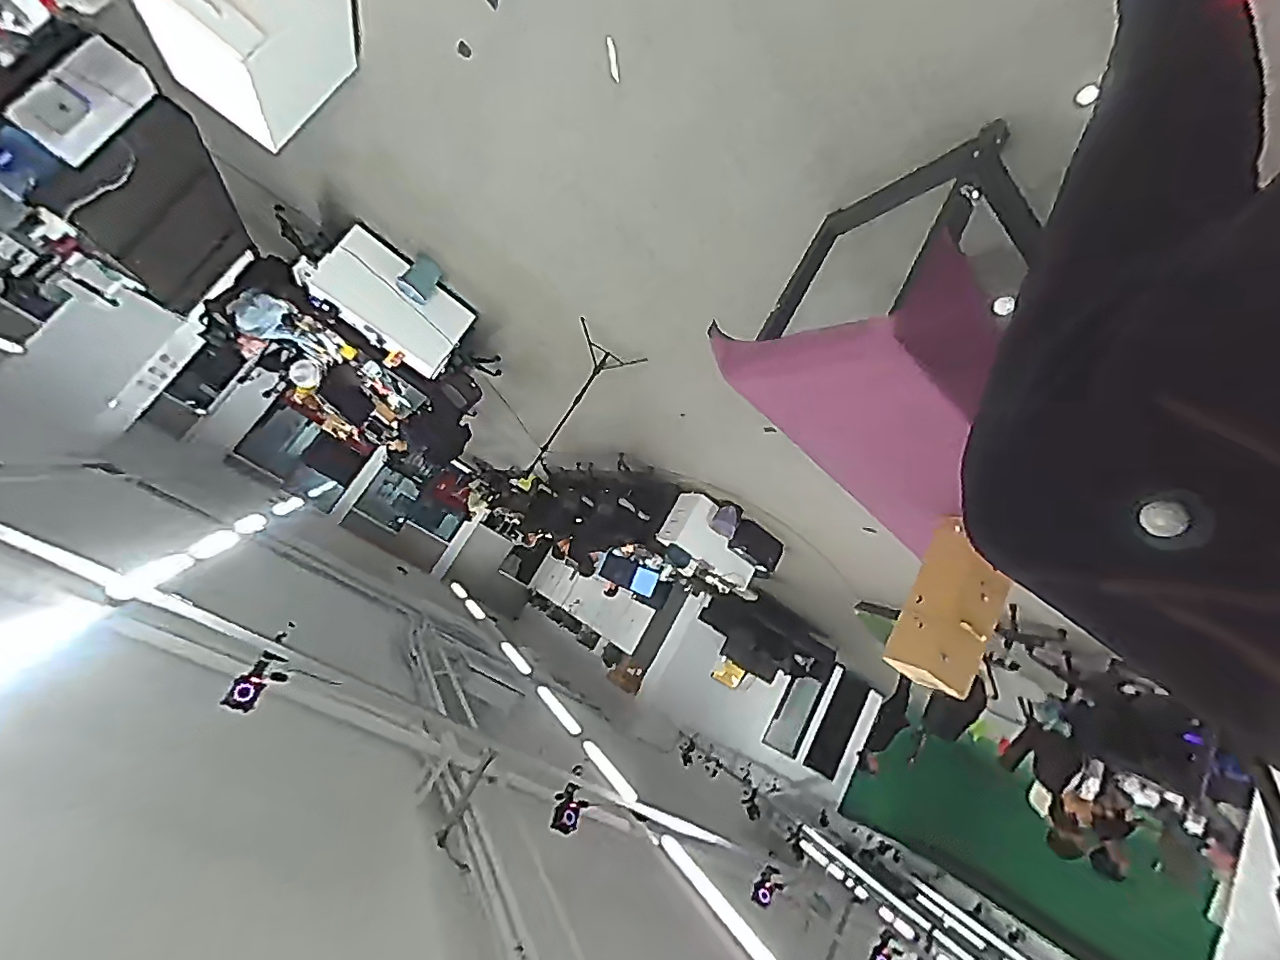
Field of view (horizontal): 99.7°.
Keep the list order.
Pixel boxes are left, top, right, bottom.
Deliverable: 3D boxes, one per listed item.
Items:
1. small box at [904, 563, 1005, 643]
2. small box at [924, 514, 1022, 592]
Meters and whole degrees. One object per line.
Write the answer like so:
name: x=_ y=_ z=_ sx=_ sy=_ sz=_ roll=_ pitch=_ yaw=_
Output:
small box: x=0.946 y=0.362 z=1.626 sx=0.168 sy=0.176 sz=0.179 roll=33 pitch=166 yaw=-12
small box: x=1.023 y=0.219 z=1.658 sx=0.179 sy=0.176 sz=0.168 roll=35 pitch=165 yaw=-13
